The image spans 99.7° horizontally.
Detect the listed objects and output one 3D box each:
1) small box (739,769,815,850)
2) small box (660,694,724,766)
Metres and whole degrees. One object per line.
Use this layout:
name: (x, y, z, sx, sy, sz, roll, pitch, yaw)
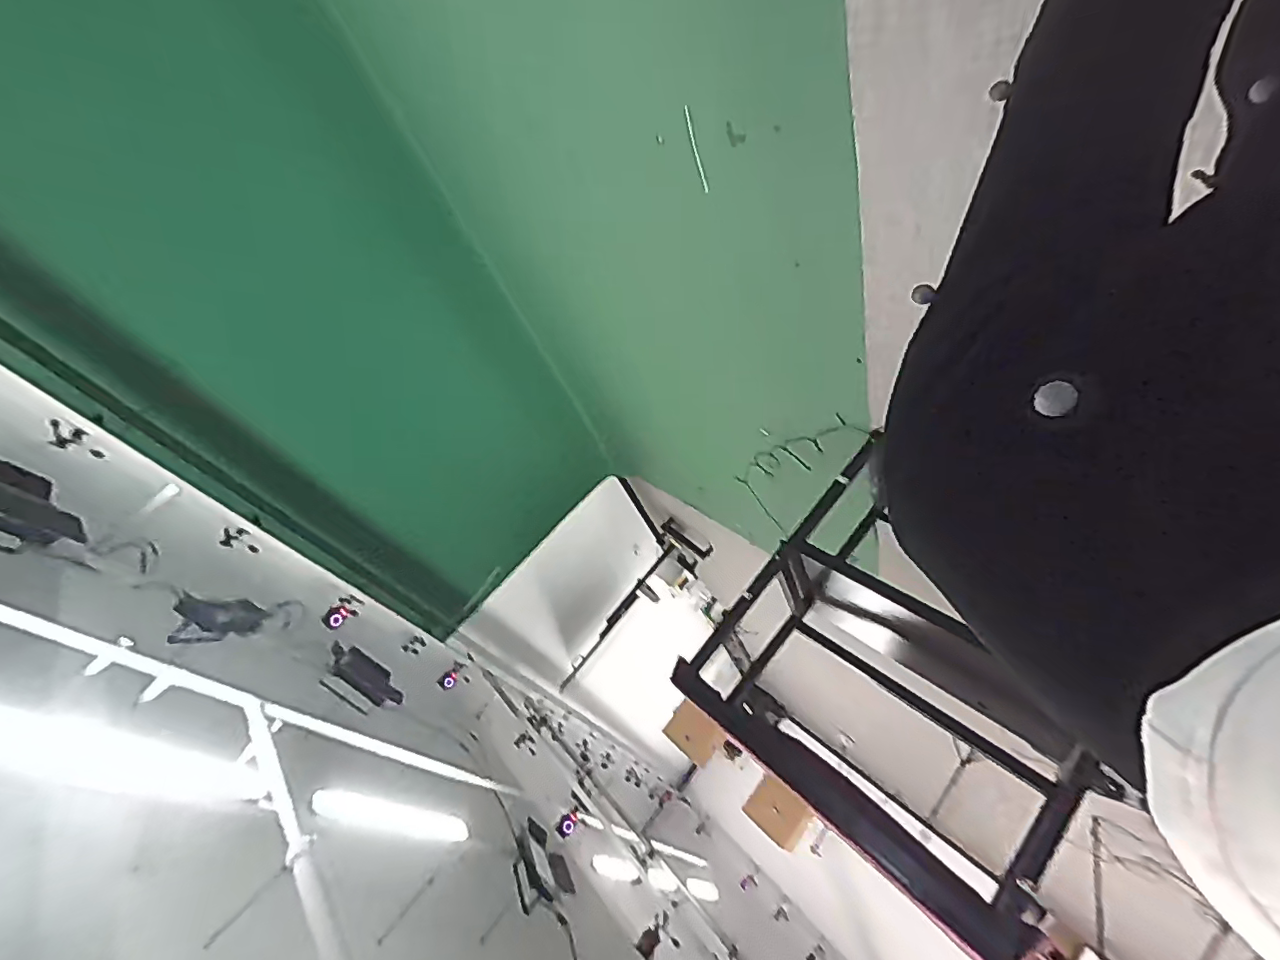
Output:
small box: (0.473, 1.124, 1.857, 0.179, 0.176, 0.168, 29, 160, 39)
small box: (0.212, 0.968, 2.101, 0.179, 0.176, 0.168, 31, 159, 36)
